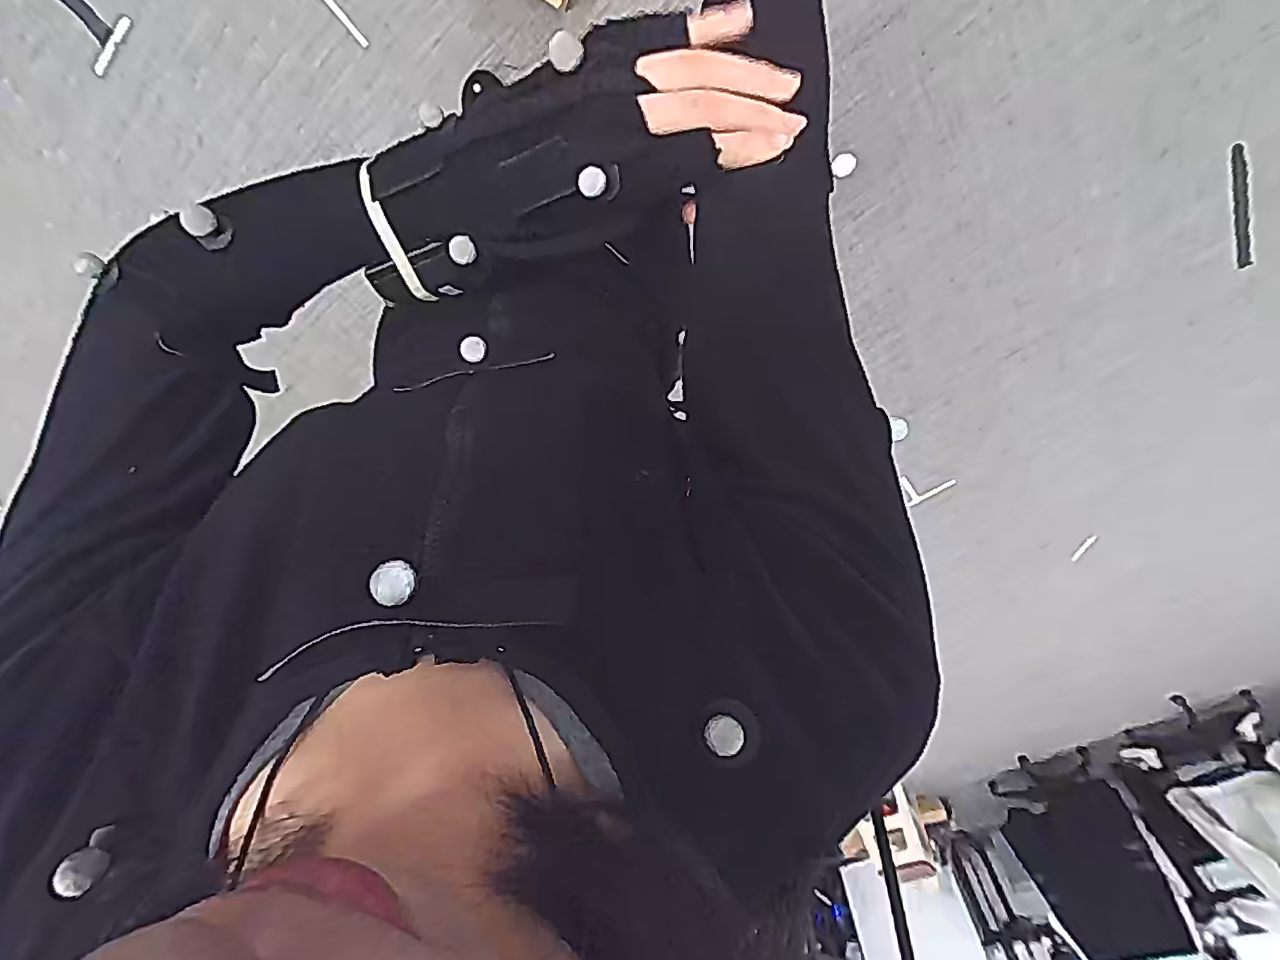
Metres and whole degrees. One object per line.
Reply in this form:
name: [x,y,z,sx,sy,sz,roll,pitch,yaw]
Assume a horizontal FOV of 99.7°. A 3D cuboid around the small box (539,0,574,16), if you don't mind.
small box: [-0.166,-0.937,0.917,0.168,0.176,0.179,23,125,-20]
